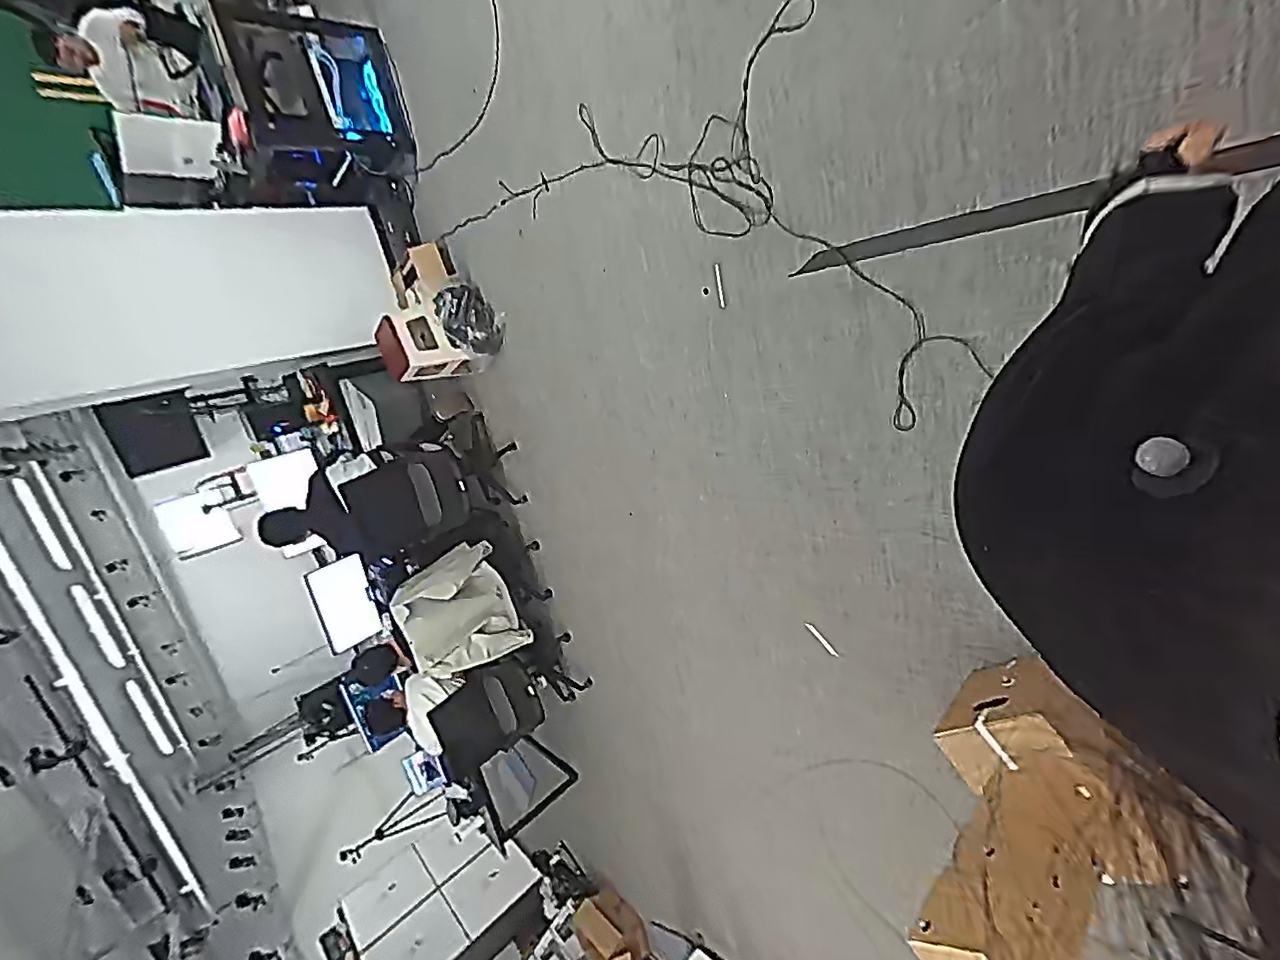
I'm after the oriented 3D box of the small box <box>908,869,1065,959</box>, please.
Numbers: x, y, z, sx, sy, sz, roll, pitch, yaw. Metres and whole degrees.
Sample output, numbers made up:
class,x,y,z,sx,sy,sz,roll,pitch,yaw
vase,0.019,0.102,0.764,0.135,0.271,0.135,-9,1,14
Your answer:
class,x,y,z,sx,sy,sz,roll,pitch,yaw
small box,0.661,0.878,1.025,0.168,0.176,0.179,54,143,14

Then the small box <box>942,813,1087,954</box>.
class,x,y,z,sx,sy,sz,roll,pitch,yaw
small box,0.780,0.825,1.123,0.168,0.176,0.179,53,141,15
